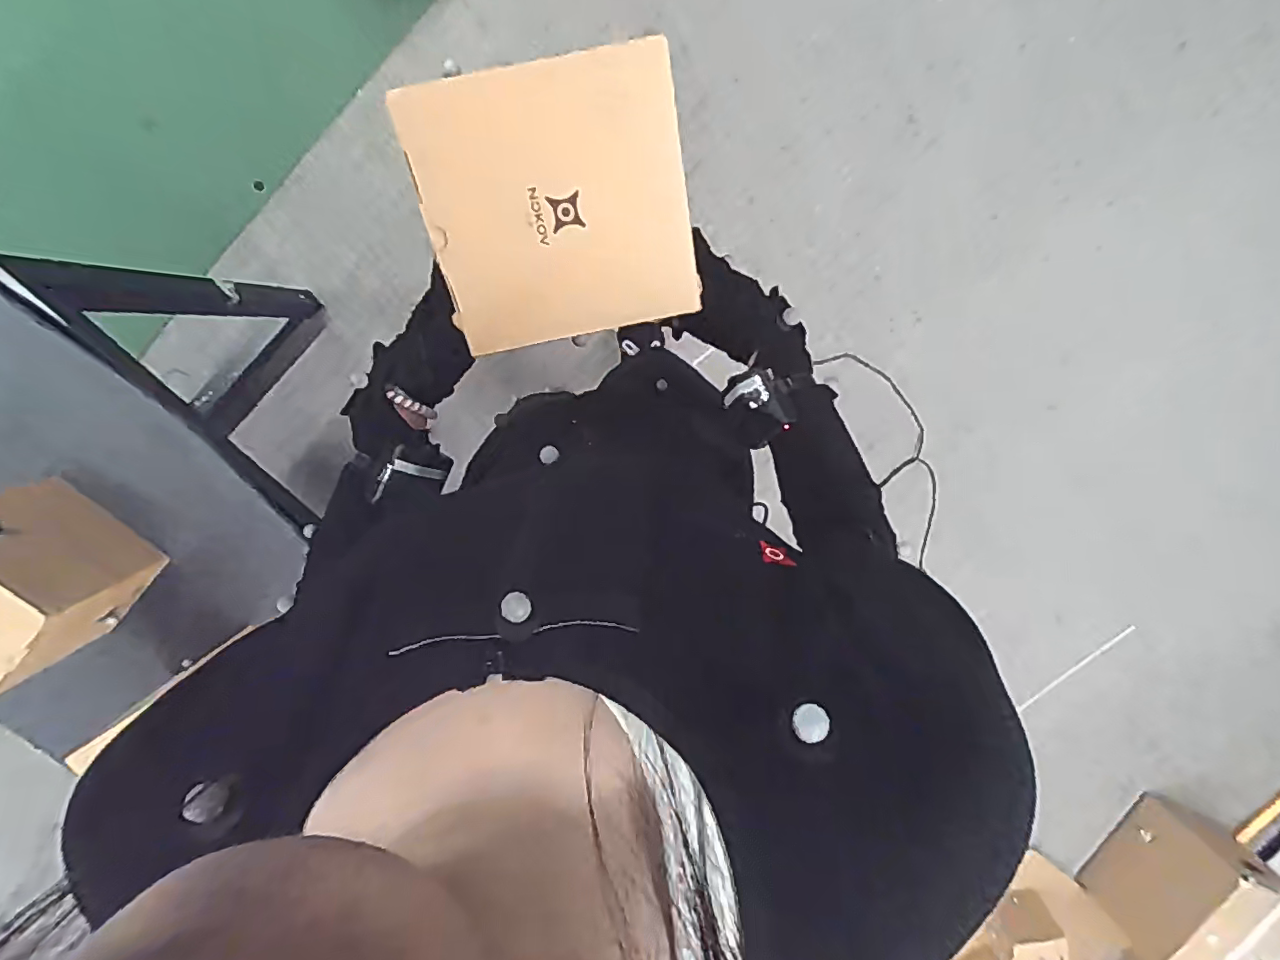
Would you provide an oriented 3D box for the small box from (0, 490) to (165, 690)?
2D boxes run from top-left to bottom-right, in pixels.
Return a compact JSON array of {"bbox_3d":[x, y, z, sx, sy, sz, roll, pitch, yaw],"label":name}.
[{"bbox_3d":[-0.777,0.131,0.681,0.179,0.176,0.168,44,101,-12],"label":"small box"}]

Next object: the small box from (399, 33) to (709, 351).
[{"bbox_3d":[-0.055,-0.219,0.427,0.179,0.176,0.168,-12,119,0],"label":"small box"}]
